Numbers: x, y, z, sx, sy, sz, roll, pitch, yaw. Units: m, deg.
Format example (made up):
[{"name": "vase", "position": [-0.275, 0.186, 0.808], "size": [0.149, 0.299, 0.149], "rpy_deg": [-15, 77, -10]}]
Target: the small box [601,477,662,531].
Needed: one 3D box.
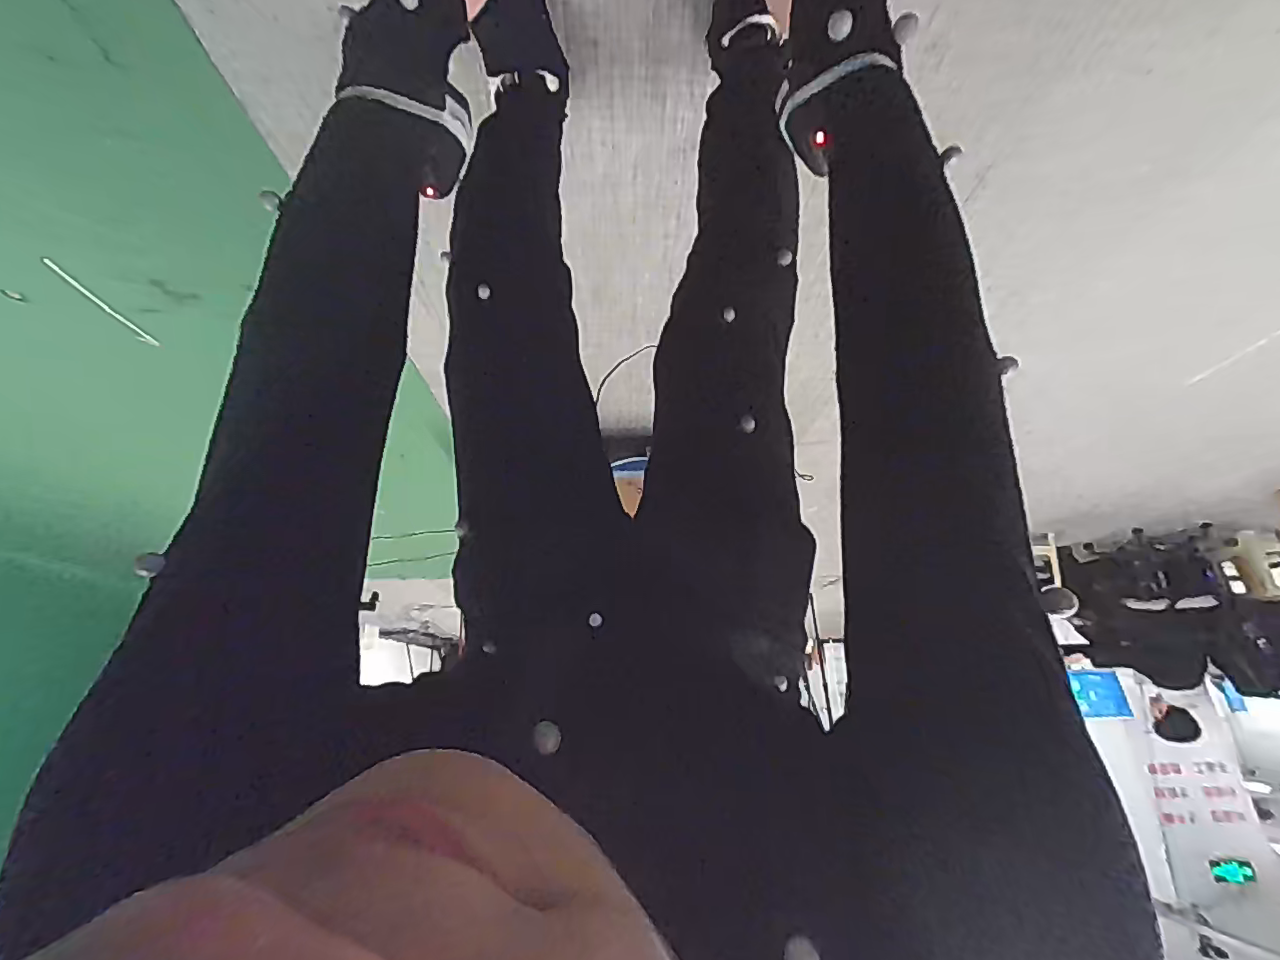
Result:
[{"name": "small box", "position": [-0.035, 0.099, 2.049], "size": [0.179, 0.176, 0.168], "rpy_deg": [11, 153, -31]}]
